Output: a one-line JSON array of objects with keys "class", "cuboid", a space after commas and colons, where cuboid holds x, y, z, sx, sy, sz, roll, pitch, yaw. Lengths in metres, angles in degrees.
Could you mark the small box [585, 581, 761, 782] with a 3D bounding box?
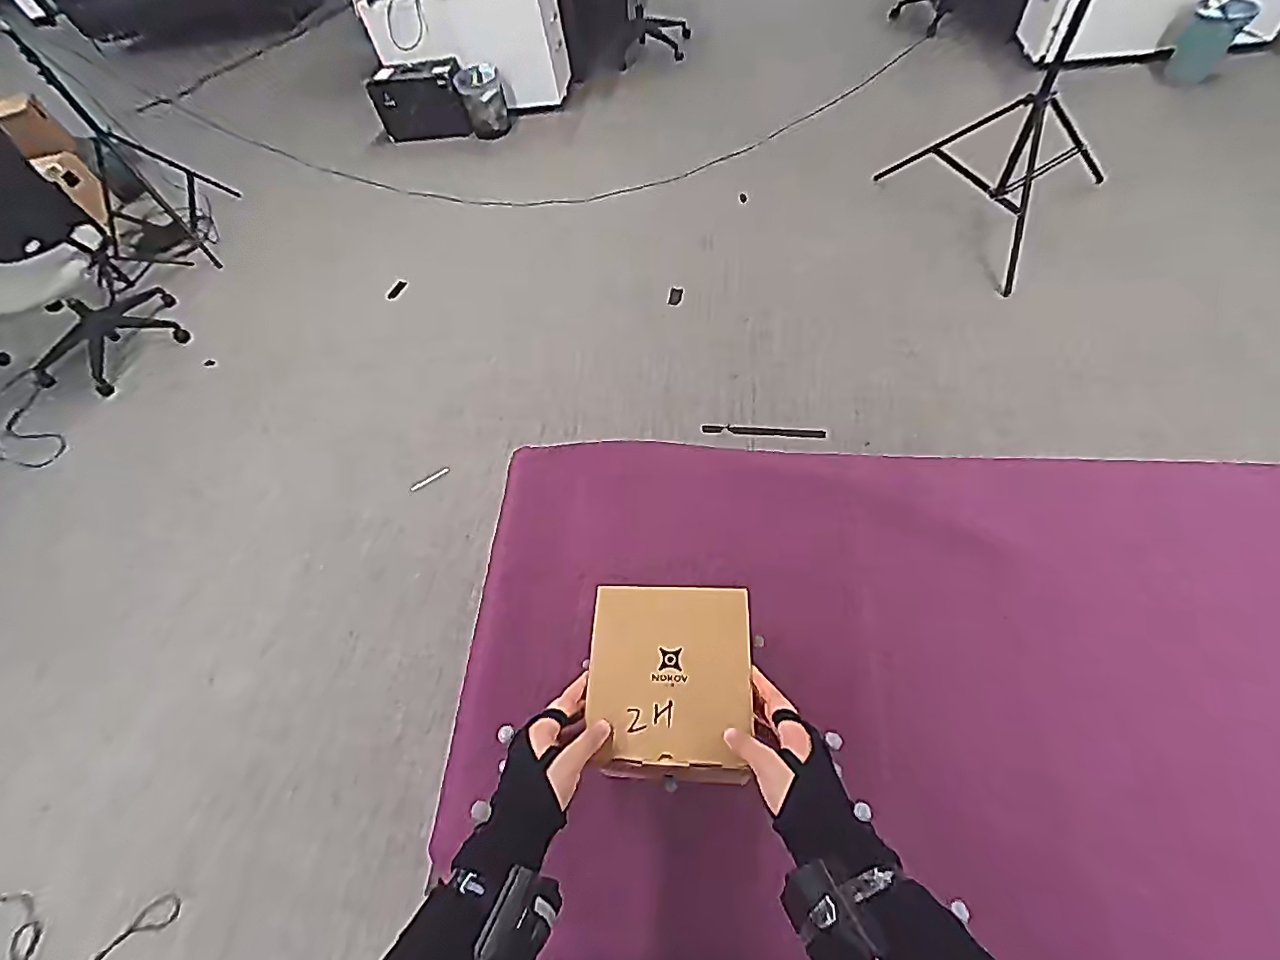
[{"class": "small box", "cuboid": [0.042, 0.228, 0.606, 0.168, 0.176, 0.179, -1, 57, 7]}]
